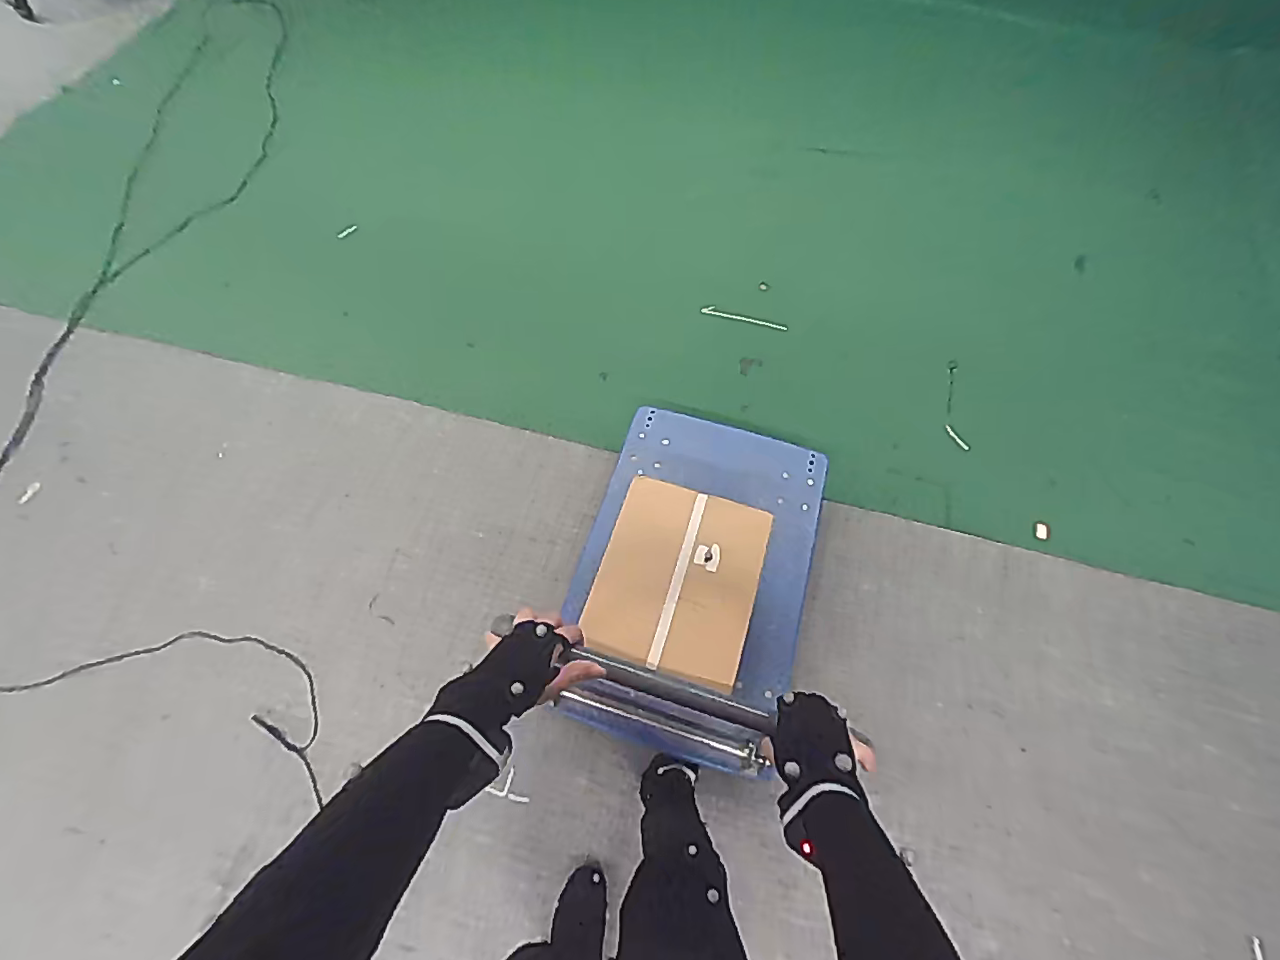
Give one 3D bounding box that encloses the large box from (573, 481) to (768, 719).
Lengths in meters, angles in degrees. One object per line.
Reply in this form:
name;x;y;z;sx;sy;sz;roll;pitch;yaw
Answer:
large box;0.072;0.277;1.216;0.320;0.320;0.408;16;63;7
